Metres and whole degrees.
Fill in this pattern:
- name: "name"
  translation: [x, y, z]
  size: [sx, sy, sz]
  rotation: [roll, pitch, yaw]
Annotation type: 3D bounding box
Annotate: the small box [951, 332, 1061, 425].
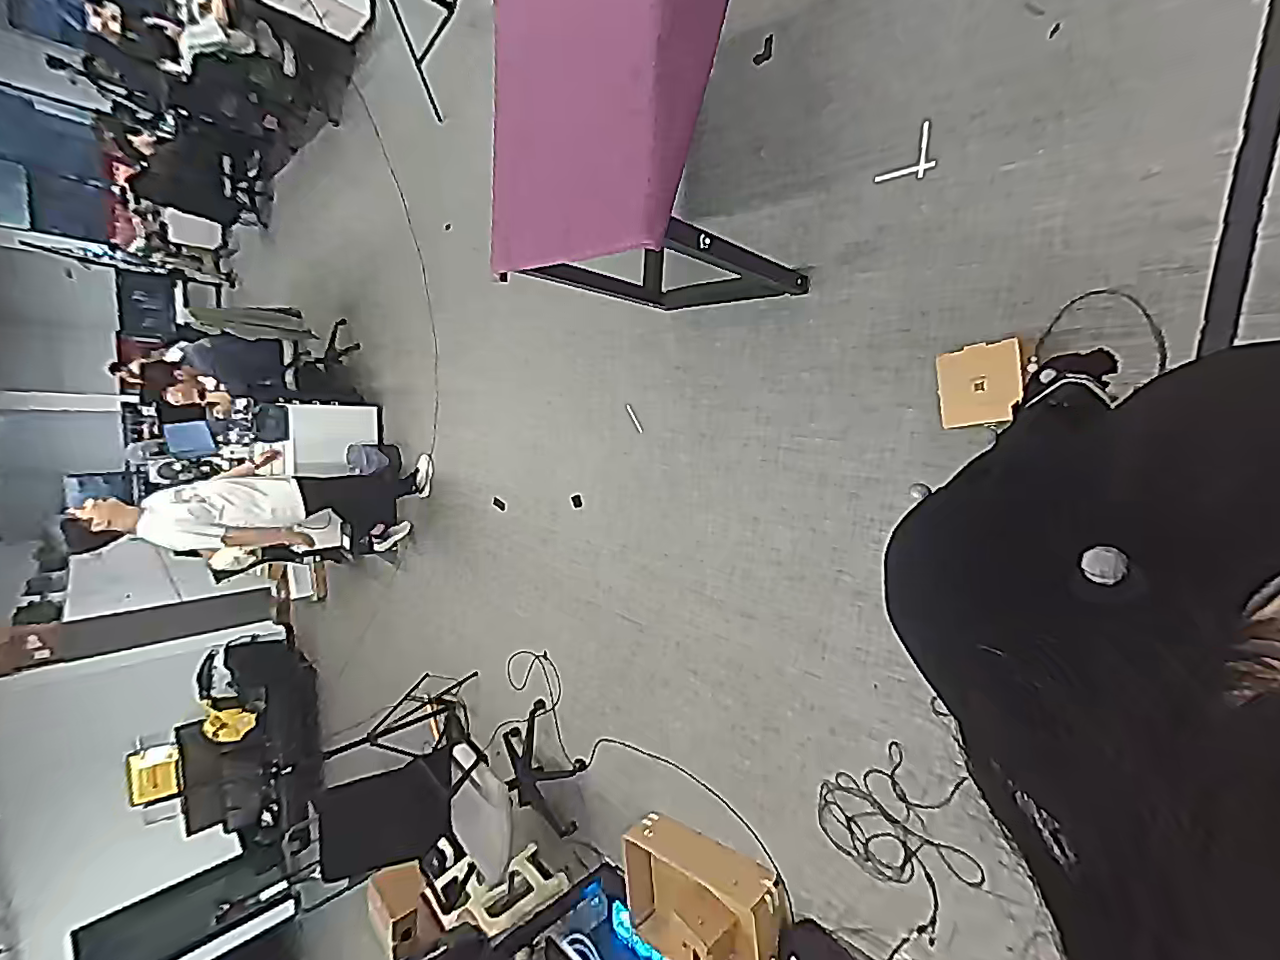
- name: "small box"
  translation: [0.838, -0.223, 1.238]
  size: [0.168, 0.176, 0.179]
  rotation: [-8, 89, 49]
